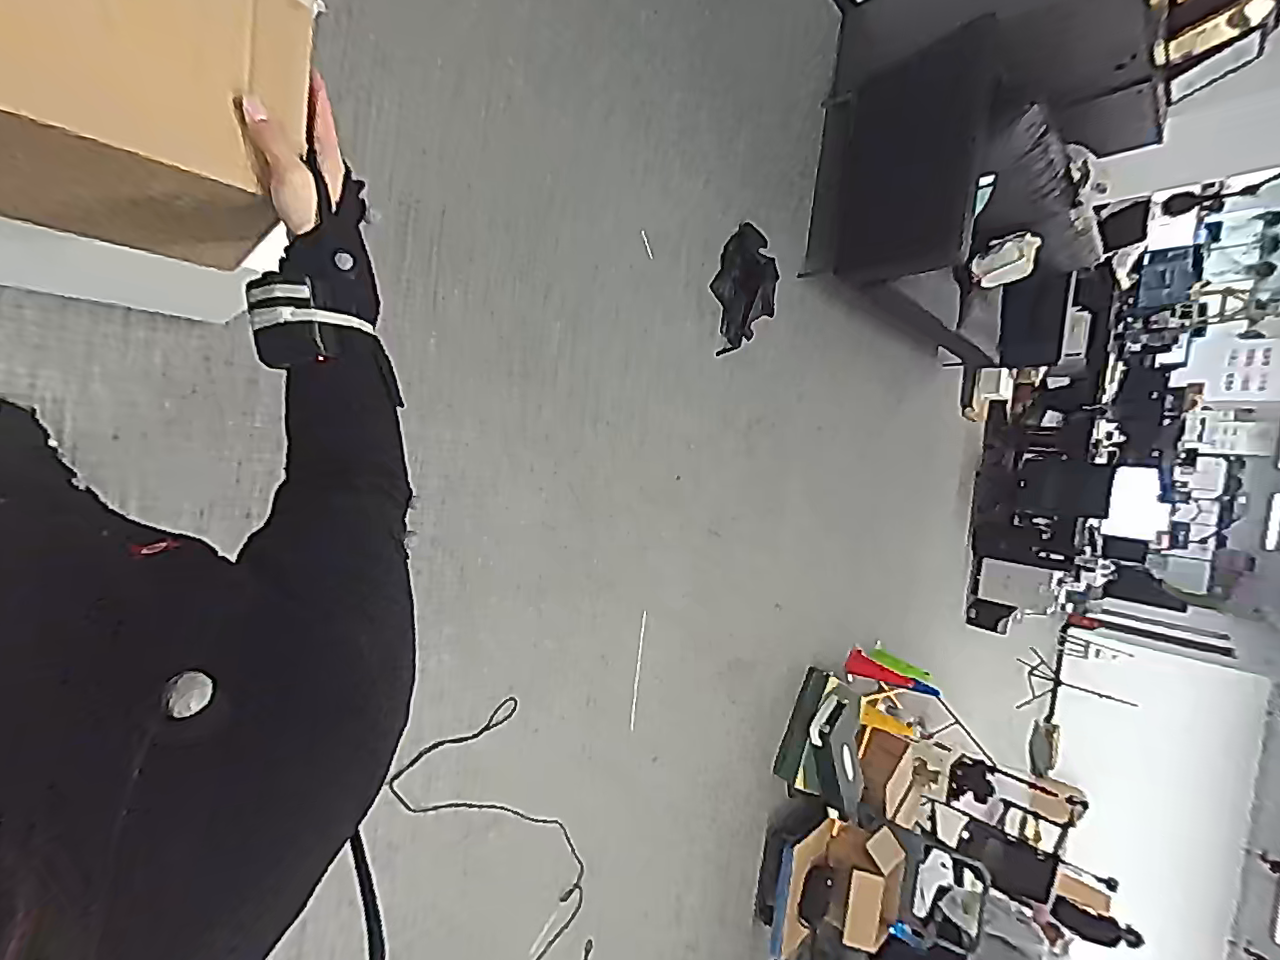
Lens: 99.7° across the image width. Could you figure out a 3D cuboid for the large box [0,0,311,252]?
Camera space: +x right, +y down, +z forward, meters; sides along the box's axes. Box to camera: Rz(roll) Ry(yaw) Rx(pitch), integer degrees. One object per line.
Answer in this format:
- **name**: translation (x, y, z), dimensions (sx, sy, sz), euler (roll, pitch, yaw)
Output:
- **large box**: translation (-0.501, -0.400, 0.382), dimensions (0.408, 0.320, 0.320), euler (1, 97, -46)
